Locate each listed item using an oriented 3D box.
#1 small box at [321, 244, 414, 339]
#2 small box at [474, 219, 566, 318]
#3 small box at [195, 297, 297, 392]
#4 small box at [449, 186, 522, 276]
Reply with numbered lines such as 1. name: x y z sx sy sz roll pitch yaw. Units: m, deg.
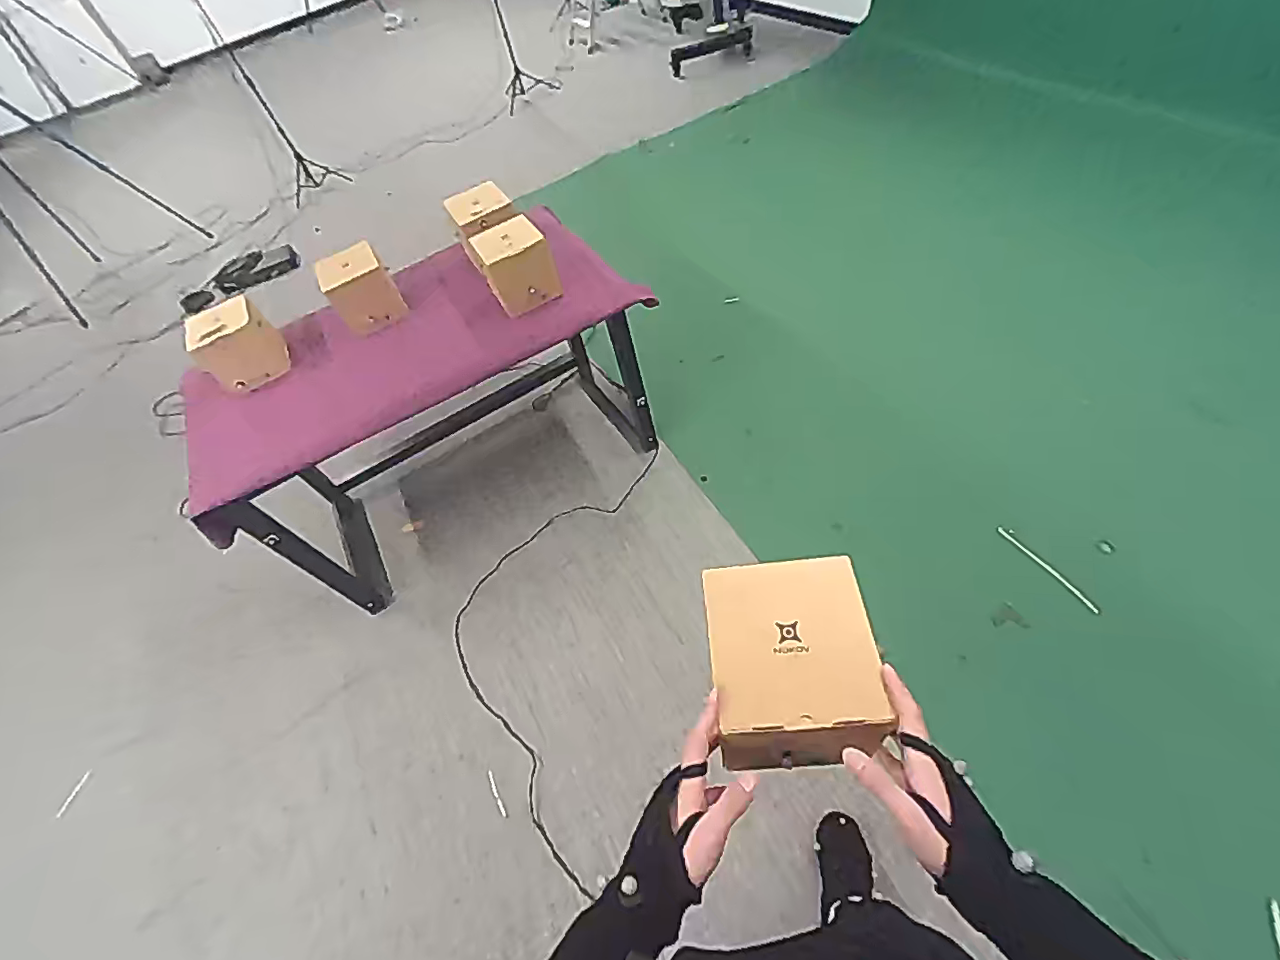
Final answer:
1. small box: -0.785 -0.541 1.565 0.168 0.176 0.179 -30 55 -8
2. small box: -0.324 -0.575 1.479 0.168 0.176 0.179 -29 53 -7
3. small box: -1.094 -0.369 1.509 0.168 0.176 0.179 -30 54 -10
4. small box: -0.446 -0.748 1.634 0.168 0.176 0.179 -30 54 -9
